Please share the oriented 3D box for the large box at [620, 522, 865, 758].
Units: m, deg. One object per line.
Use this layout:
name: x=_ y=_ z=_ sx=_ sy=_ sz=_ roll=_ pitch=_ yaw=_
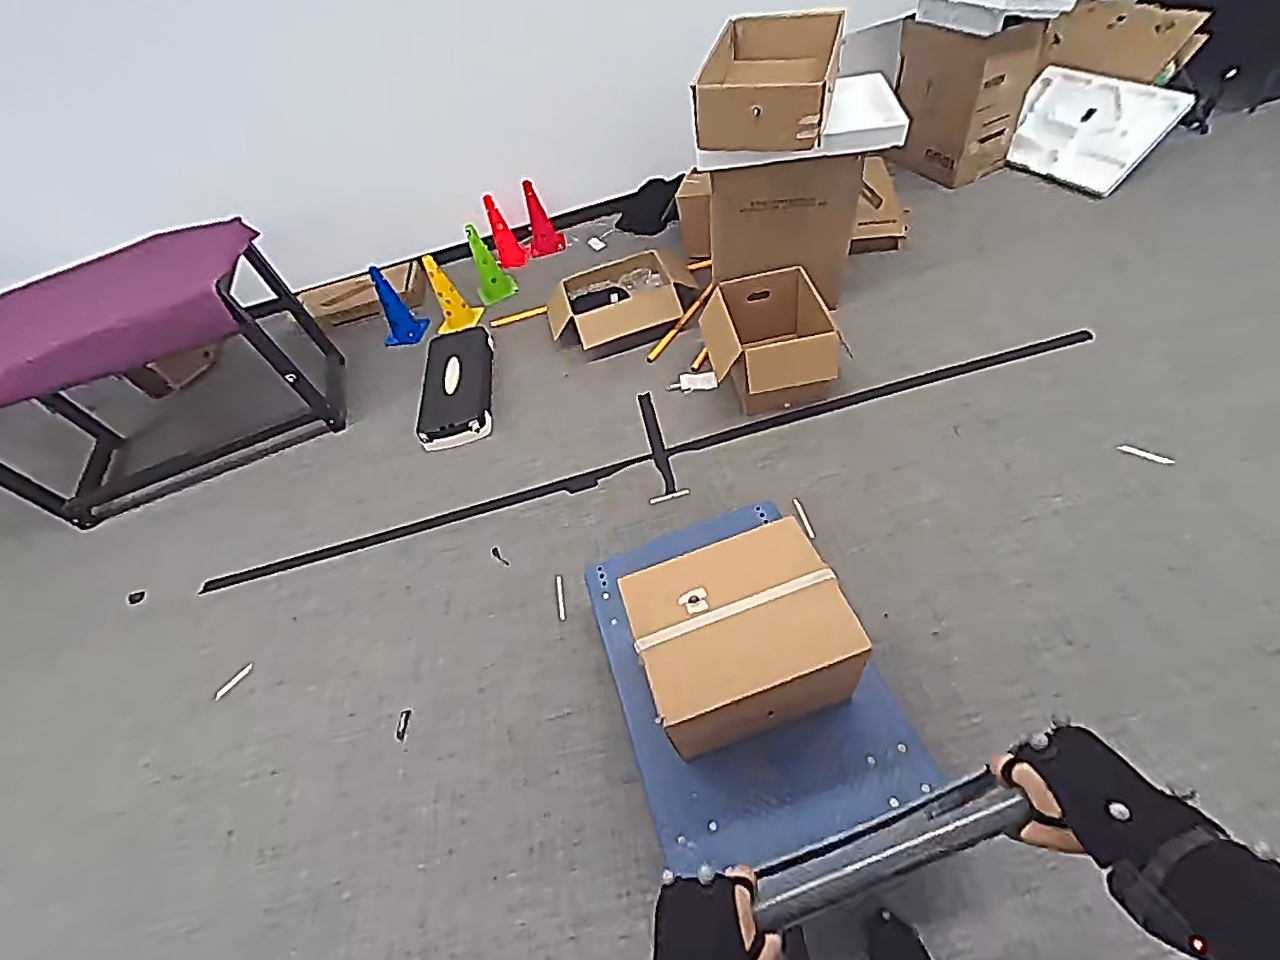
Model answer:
large box: x=0.216 y=0.356 z=1.188 sx=0.408 sy=0.320 sz=0.320 roll=-21 pitch=50 yaw=-2
